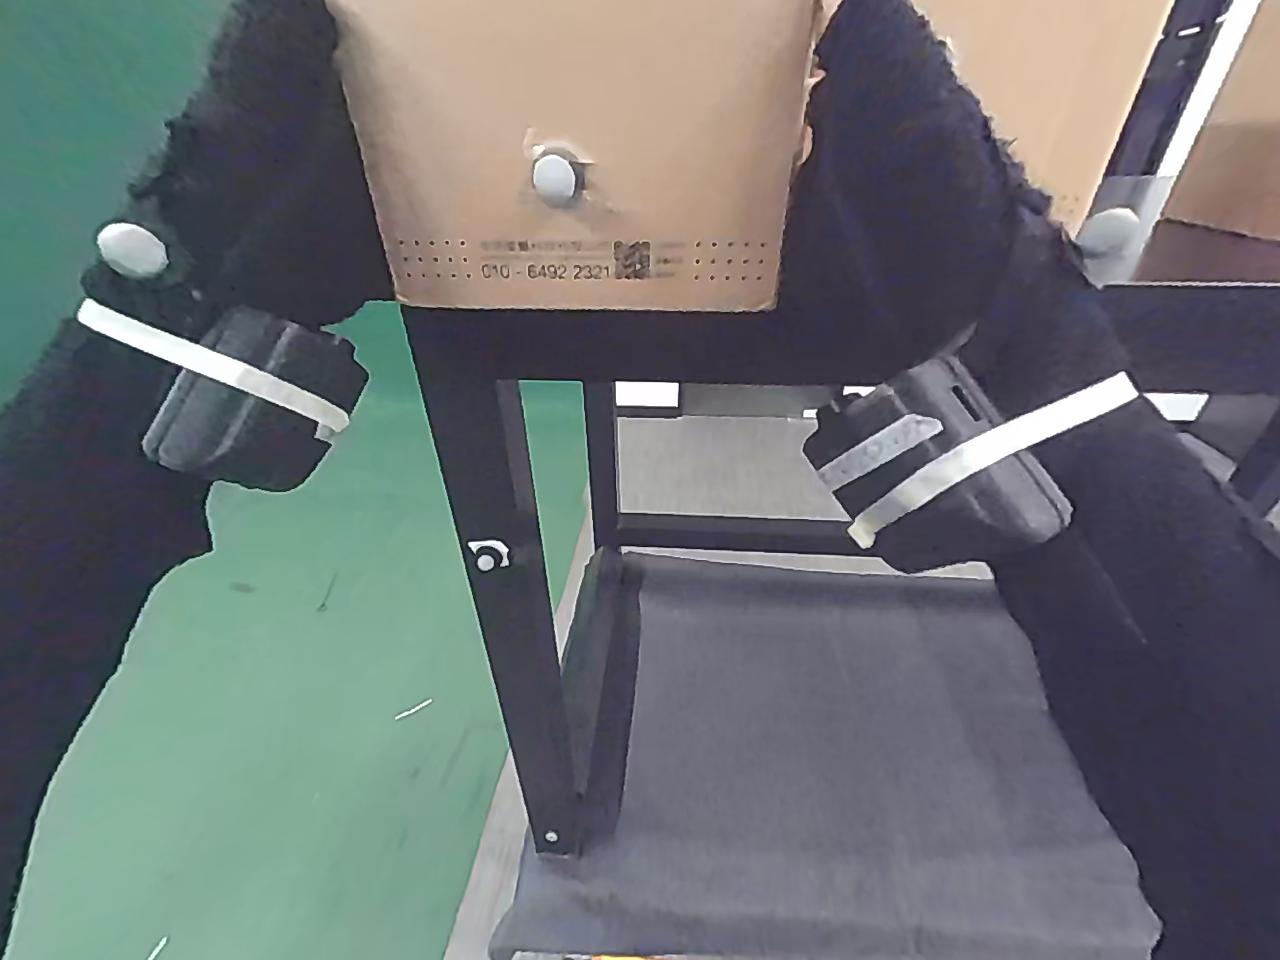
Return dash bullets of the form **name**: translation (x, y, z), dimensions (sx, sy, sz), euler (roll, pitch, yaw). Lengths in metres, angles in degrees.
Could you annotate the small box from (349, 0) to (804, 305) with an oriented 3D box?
- **small box**: translation (-0.022, -0.194, 0.260), dimensions (0.168, 0.176, 0.179), euler (2, 34, 3)
